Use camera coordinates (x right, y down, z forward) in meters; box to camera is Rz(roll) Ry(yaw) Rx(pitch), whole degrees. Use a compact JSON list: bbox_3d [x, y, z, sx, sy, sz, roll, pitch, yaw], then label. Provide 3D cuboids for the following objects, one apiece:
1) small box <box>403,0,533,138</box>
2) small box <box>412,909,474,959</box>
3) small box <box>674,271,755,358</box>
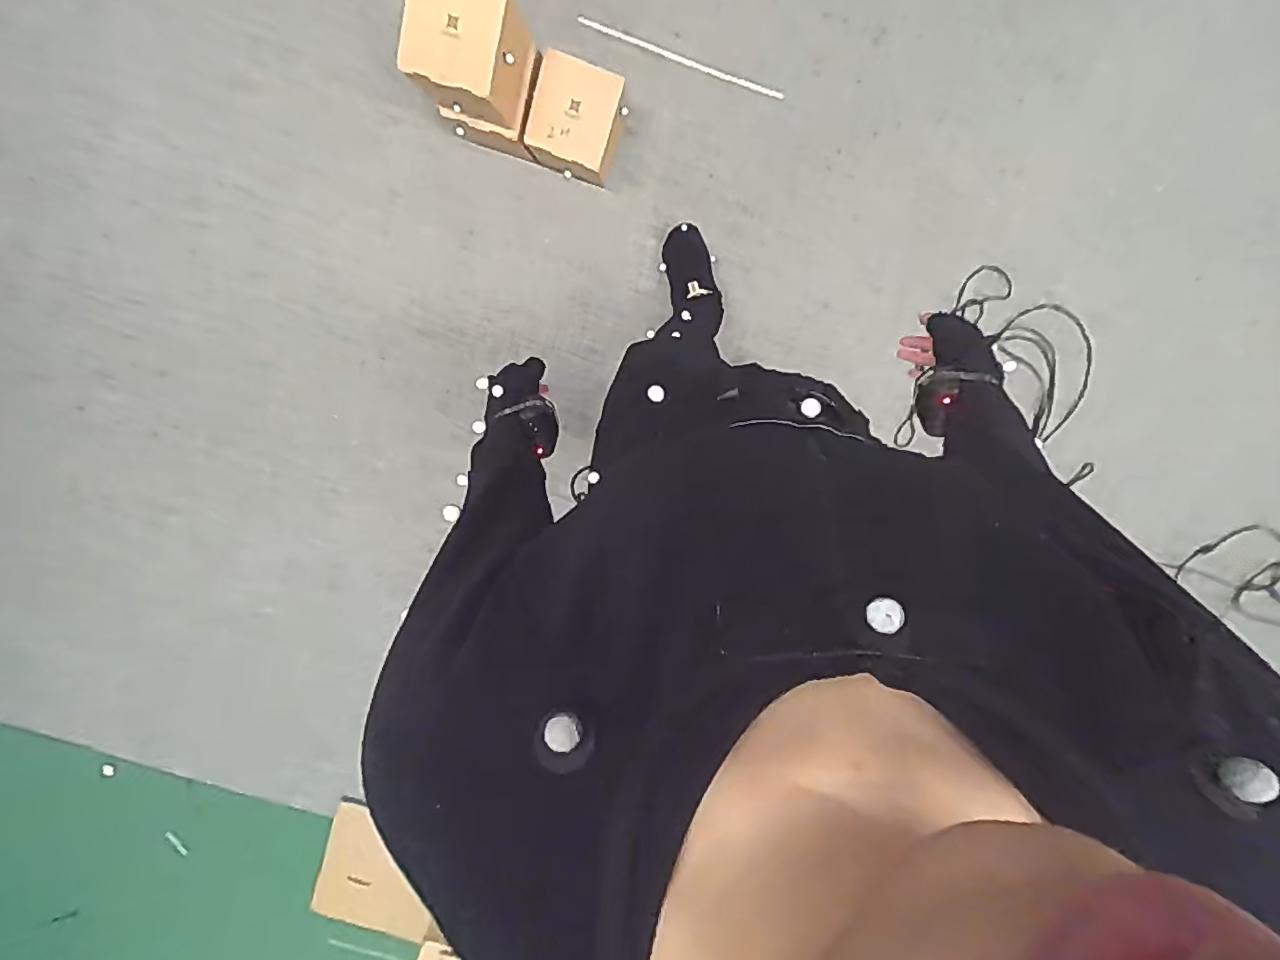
[{"bbox_3d":[-0.306,-0.773,0.995,0.168,0.176,0.179,17,106,-3],"label":"small box"},{"bbox_3d":[-0.701,1.660,1.895,0.168,0.176,0.179,22,107,-6],"label":"small box"},{"bbox_3d":[0.169,-0.396,1.288,0.168,0.176,0.179,0,114,-1],"label":"small box"}]
